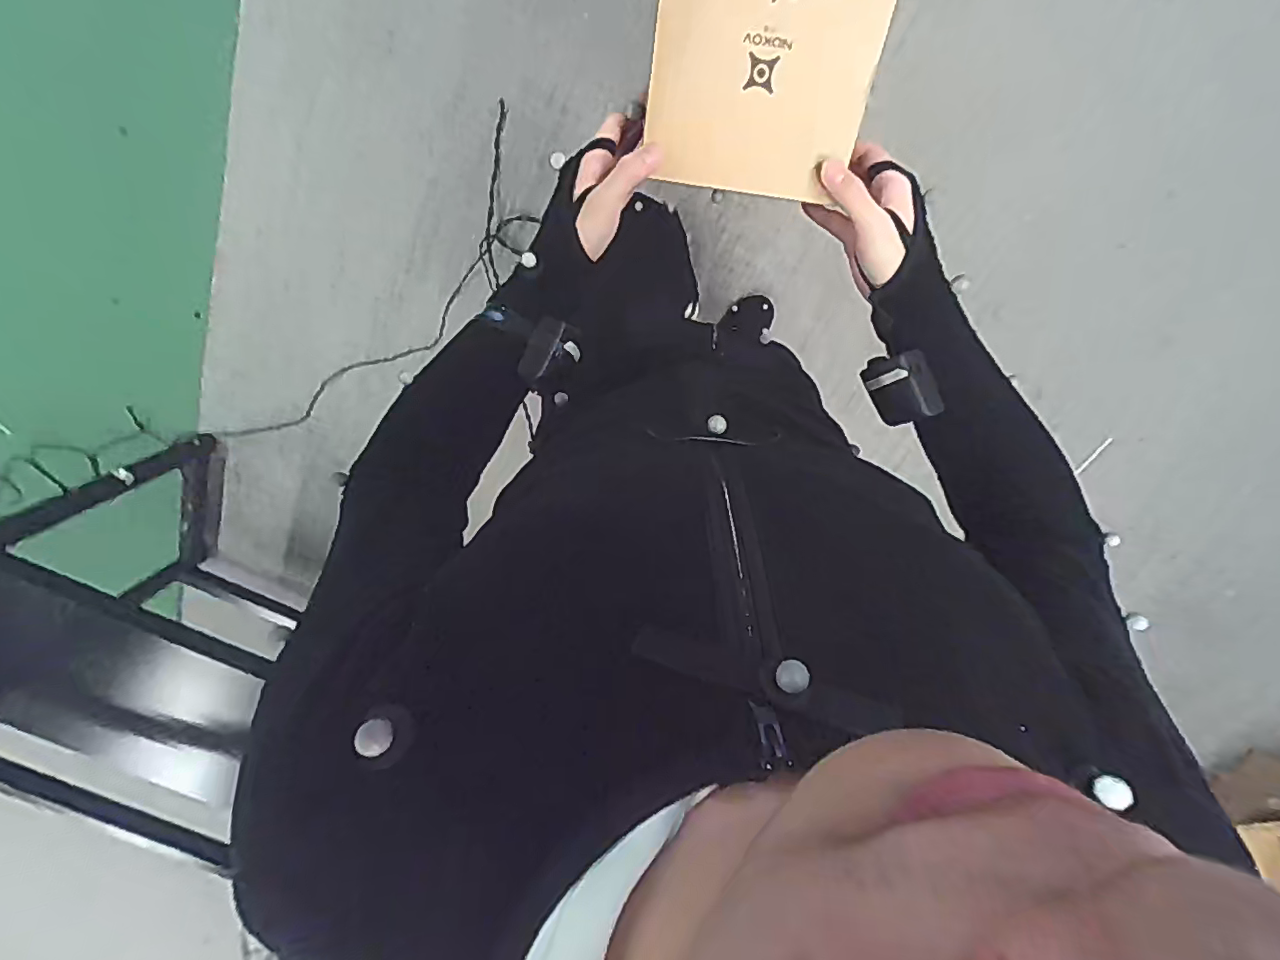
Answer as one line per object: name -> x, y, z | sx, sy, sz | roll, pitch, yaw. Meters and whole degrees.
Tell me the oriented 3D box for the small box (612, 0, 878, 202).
small box -> 0.073, -0.346, 0.442 | 0.168, 0.176, 0.179 | 8, 123, -5
